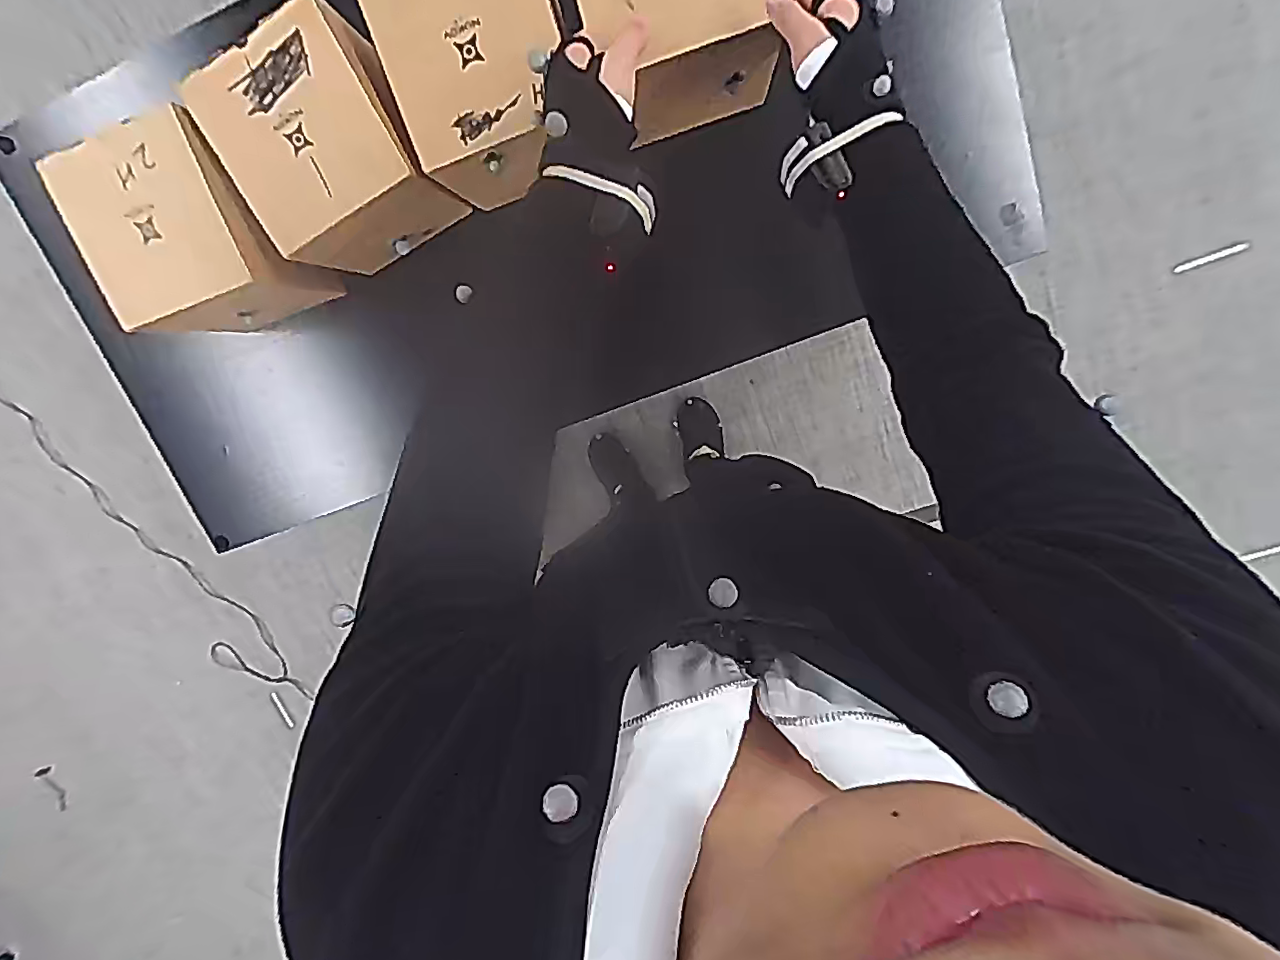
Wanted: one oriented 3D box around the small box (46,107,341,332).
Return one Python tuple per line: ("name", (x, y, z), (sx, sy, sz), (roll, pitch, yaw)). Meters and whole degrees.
("small box", (-0.494, -0.283, 0.632), (0.168, 0.176, 0.179), (-17, 102, 8))
